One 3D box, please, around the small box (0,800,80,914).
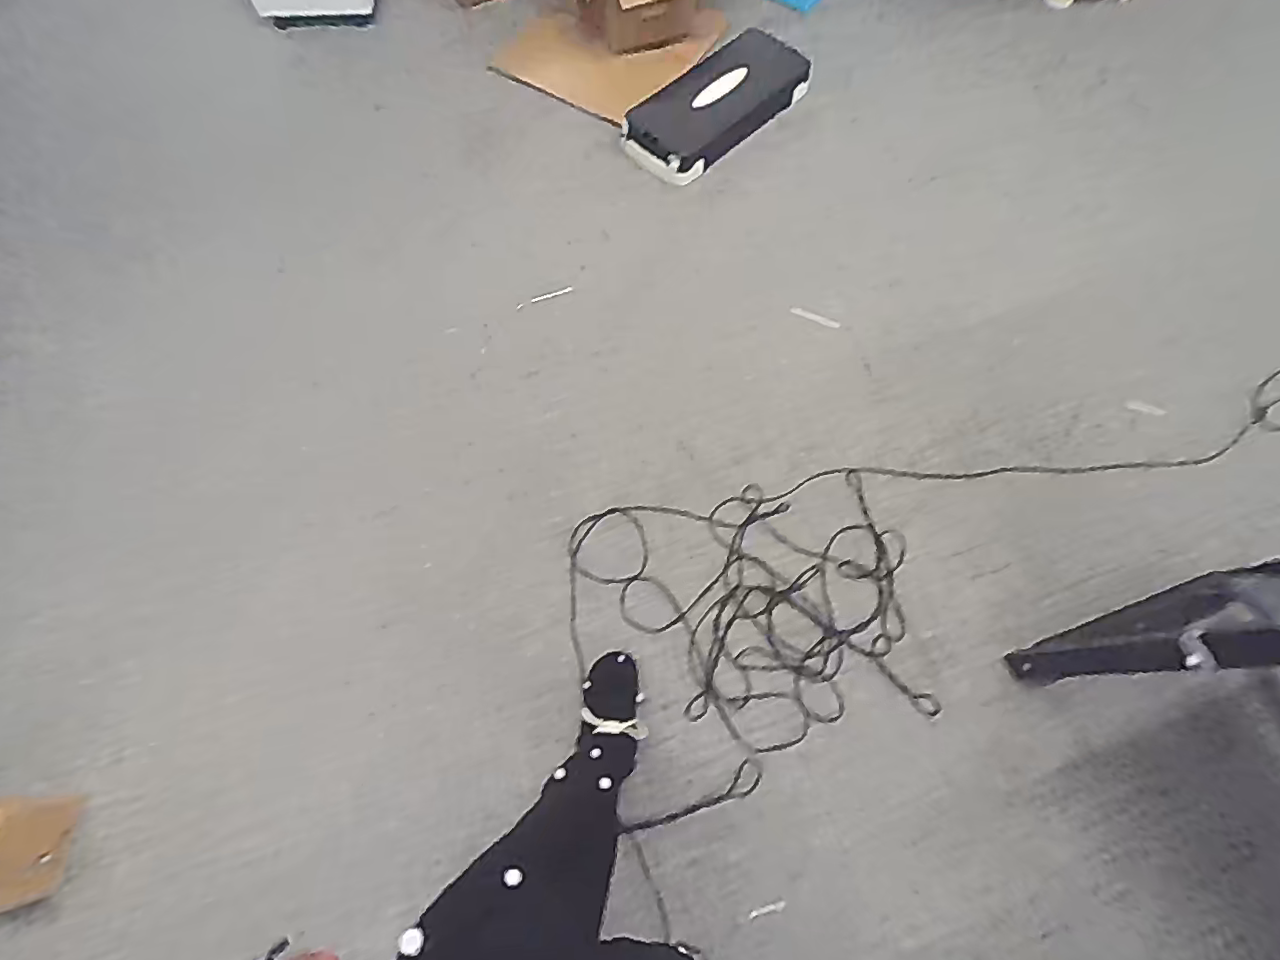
[{"bbox_3d":[-1.194,0.683,0.969,0.179,0.176,0.168,0,68,-1],"label":"small box"}]
